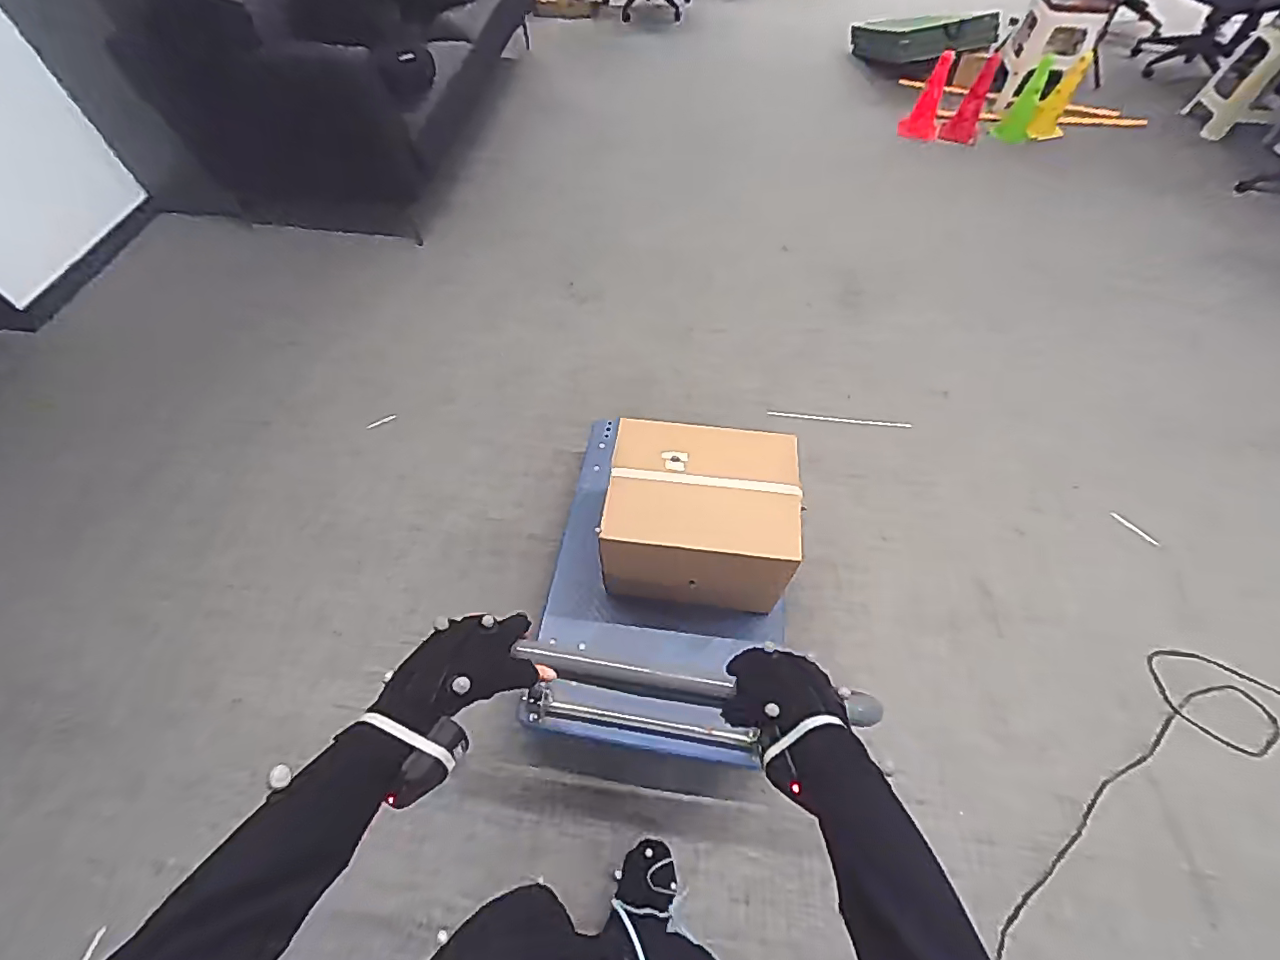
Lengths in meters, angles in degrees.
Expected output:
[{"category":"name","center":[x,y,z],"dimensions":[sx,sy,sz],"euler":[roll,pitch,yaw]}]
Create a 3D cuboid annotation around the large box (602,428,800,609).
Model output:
[{"category":"large box","center":[0.139,0.100,1.287],"dimensions":[0.408,0.320,0.320],"euler":[5,57,4]}]
